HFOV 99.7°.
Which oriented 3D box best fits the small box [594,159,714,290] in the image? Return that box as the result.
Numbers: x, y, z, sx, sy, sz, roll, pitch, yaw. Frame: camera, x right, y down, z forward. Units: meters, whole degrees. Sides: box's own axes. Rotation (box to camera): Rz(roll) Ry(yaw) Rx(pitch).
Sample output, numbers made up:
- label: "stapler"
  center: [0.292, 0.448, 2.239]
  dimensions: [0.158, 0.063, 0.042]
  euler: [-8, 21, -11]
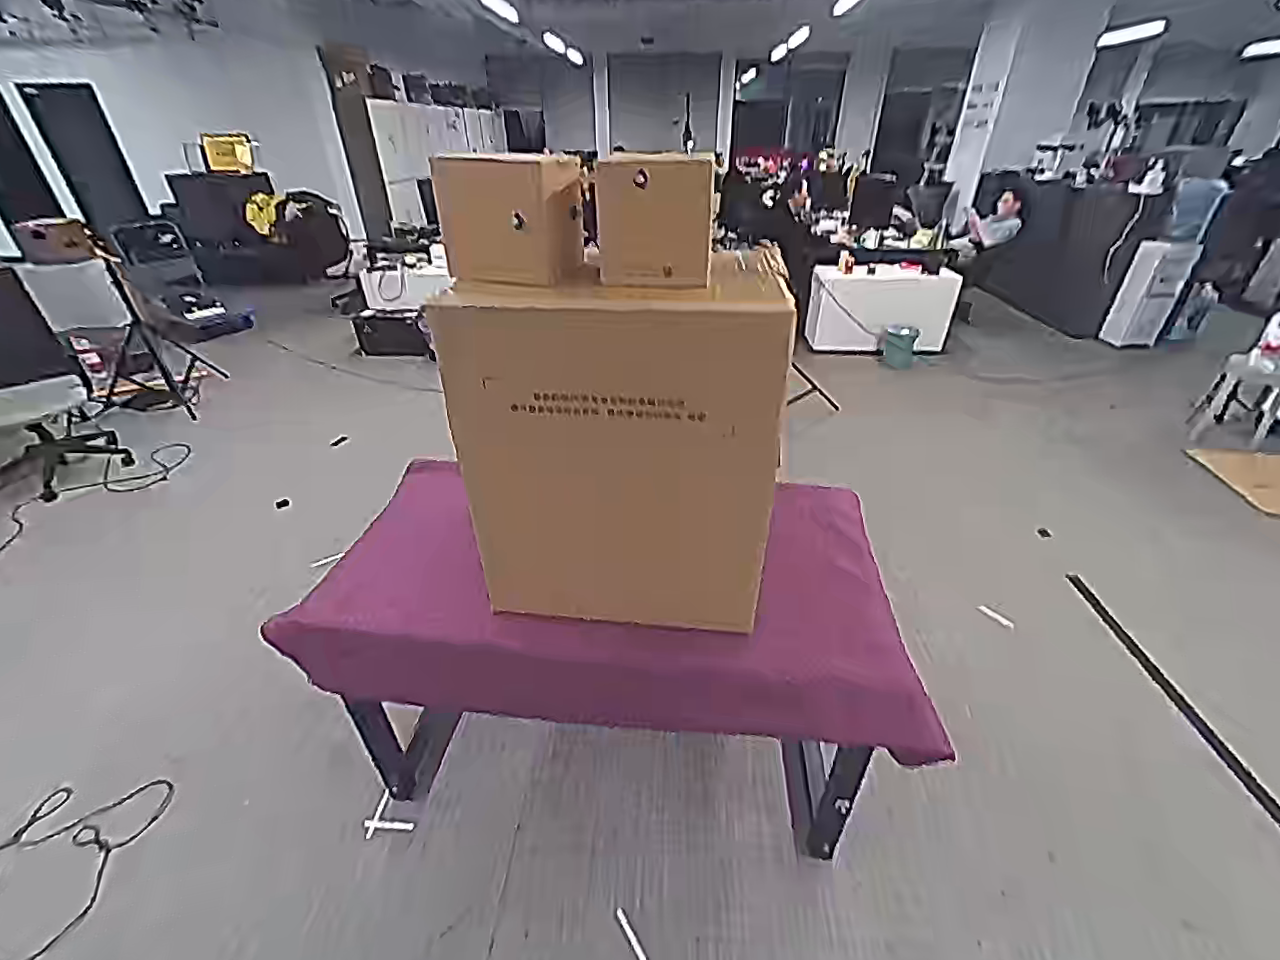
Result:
- label: "small box"
  center: [0.028, -0.403, 0.846]
  dimensions: [0.168, 0.176, 0.179]
  euler: [2, 32, 7]
